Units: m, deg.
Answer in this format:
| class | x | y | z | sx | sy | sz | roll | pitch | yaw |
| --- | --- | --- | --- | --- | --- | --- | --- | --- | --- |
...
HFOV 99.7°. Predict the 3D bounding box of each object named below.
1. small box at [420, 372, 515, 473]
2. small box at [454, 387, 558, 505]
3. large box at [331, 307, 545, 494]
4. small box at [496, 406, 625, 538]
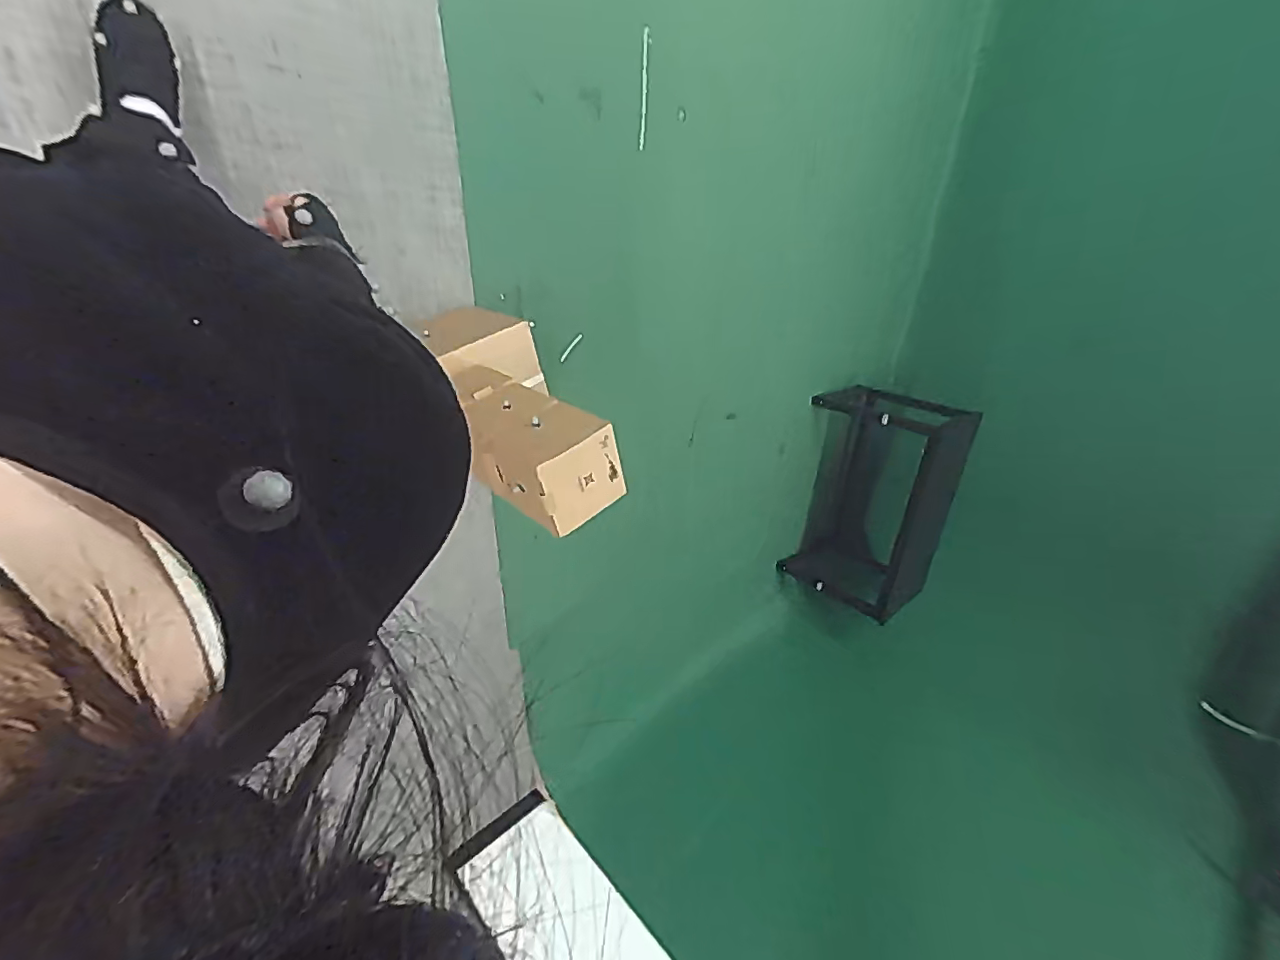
| class | x | y | z | sx | sy | sz | roll | pitch | yaw |
| --- | --- | --- | --- | --- | --- | --- | --- | --- | --- |
| small box | -0.381 | -0.138 | 1.257 | 0.168 | 0.176 | 0.179 | -34 | 131 | -30 |
| small box | -0.271 | -0.079 | 1.151 | 0.179 | 0.176 | 0.168 | -35 | 132 | -29 |
| large box | -0.515 | -0.231 | 1.443 | 0.408 | 0.320 | 0.320 | -36 | 133 | -31 |
| small box | -0.157 | -0.022 | 1.046 | 0.179 | 0.176 | 0.168 | -33 | 131 | -29 |
